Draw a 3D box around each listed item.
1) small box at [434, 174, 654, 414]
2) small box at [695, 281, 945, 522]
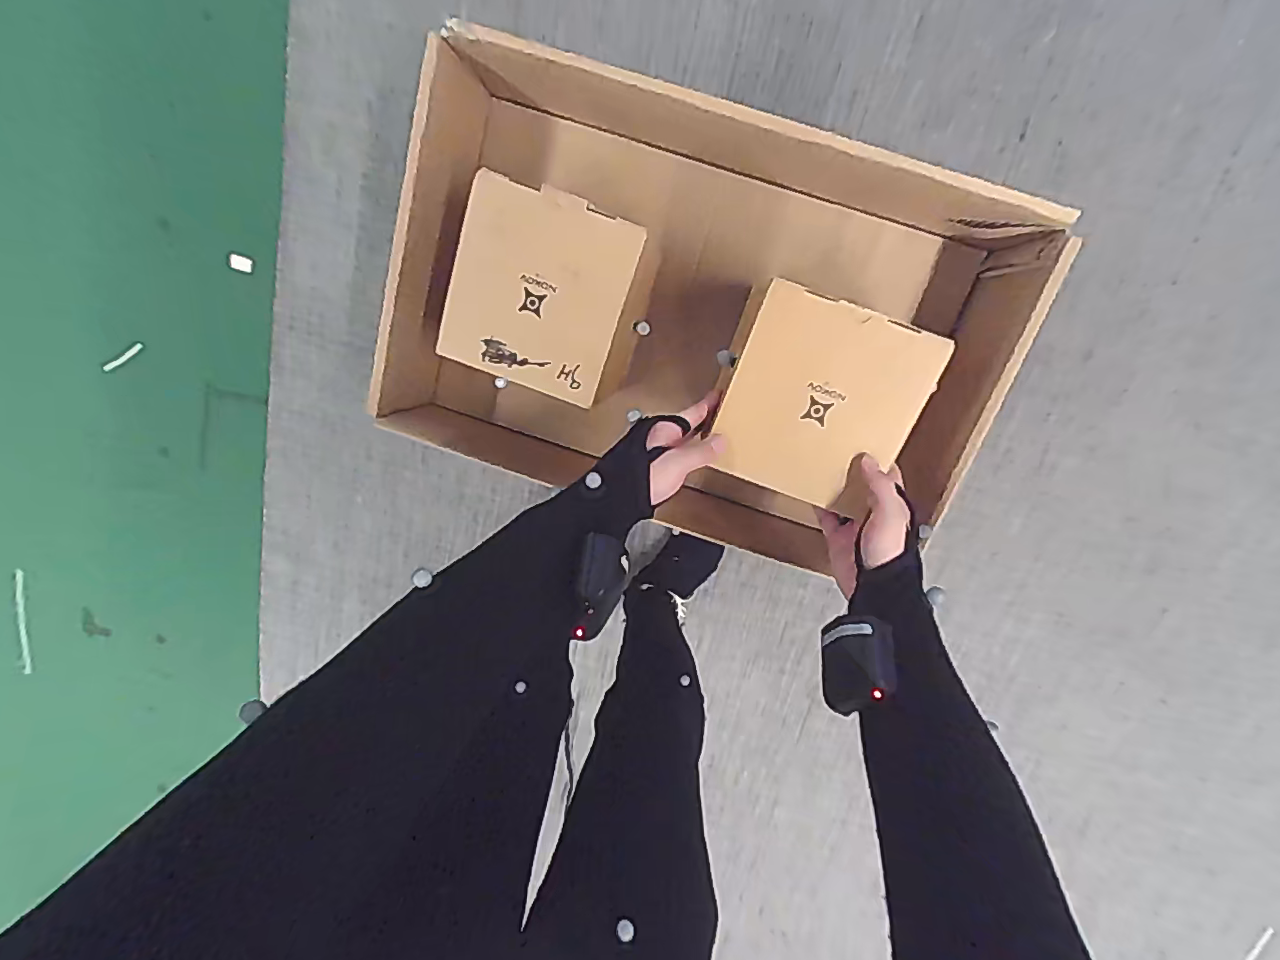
[{"bbox_3d":[-0.090,-0.190,0.586,0.168,0.176,0.179,21,105,2],"label":"small box"},{"bbox_3d":[0.166,-0.087,0.558,0.168,0.176,0.179,20,108,1],"label":"small box"}]
